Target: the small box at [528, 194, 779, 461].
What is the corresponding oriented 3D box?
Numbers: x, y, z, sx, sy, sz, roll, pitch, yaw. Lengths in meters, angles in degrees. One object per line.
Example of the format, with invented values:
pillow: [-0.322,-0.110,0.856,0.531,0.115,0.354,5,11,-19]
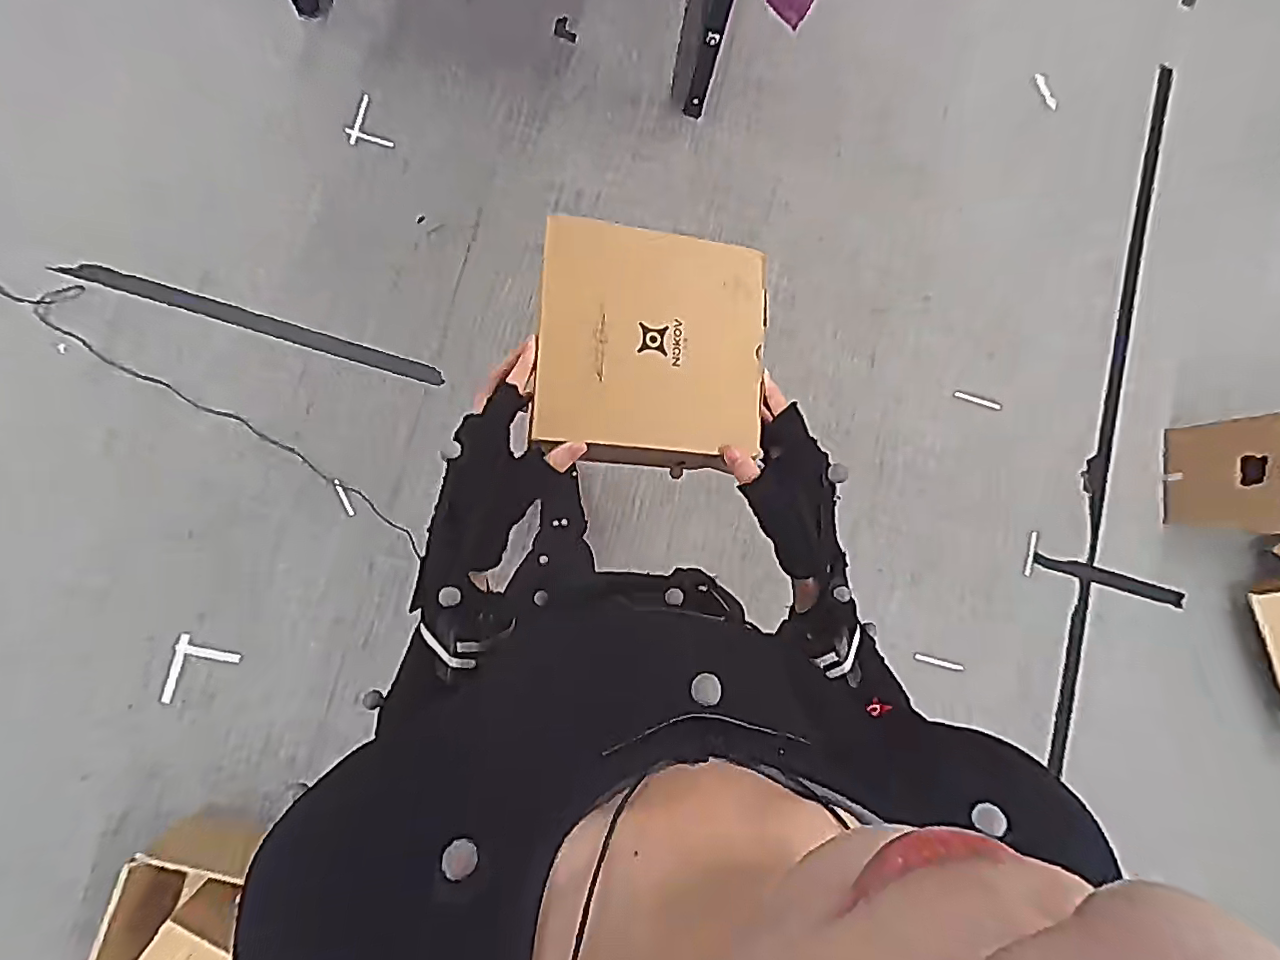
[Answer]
small box: [-0.001,-0.108,0.465,0.179,0.176,0.168,3,86,-13]
